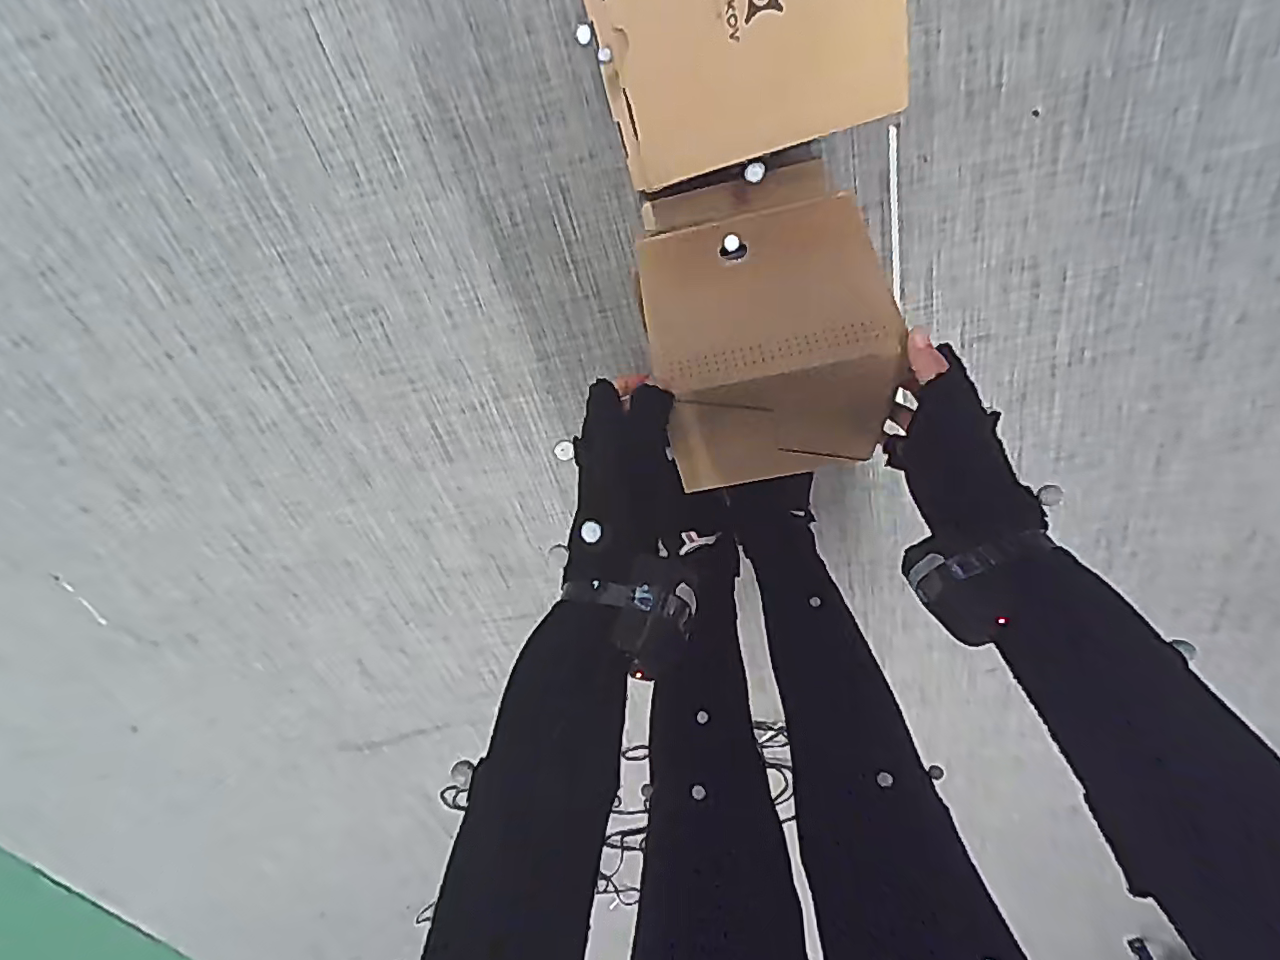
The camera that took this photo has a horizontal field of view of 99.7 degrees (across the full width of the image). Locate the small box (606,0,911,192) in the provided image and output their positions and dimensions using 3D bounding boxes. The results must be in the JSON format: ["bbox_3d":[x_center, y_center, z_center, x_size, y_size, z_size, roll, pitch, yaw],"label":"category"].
[{"bbox_3d":[0.072,-0.326,0.392,0.179,0.176,0.168,-13,119,9],"label":"small box"}]

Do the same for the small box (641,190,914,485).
[{"bbox_3d":[0.109,-0.109,0.474,0.179,0.176,0.168,-10,153,9],"label":"small box"}]
